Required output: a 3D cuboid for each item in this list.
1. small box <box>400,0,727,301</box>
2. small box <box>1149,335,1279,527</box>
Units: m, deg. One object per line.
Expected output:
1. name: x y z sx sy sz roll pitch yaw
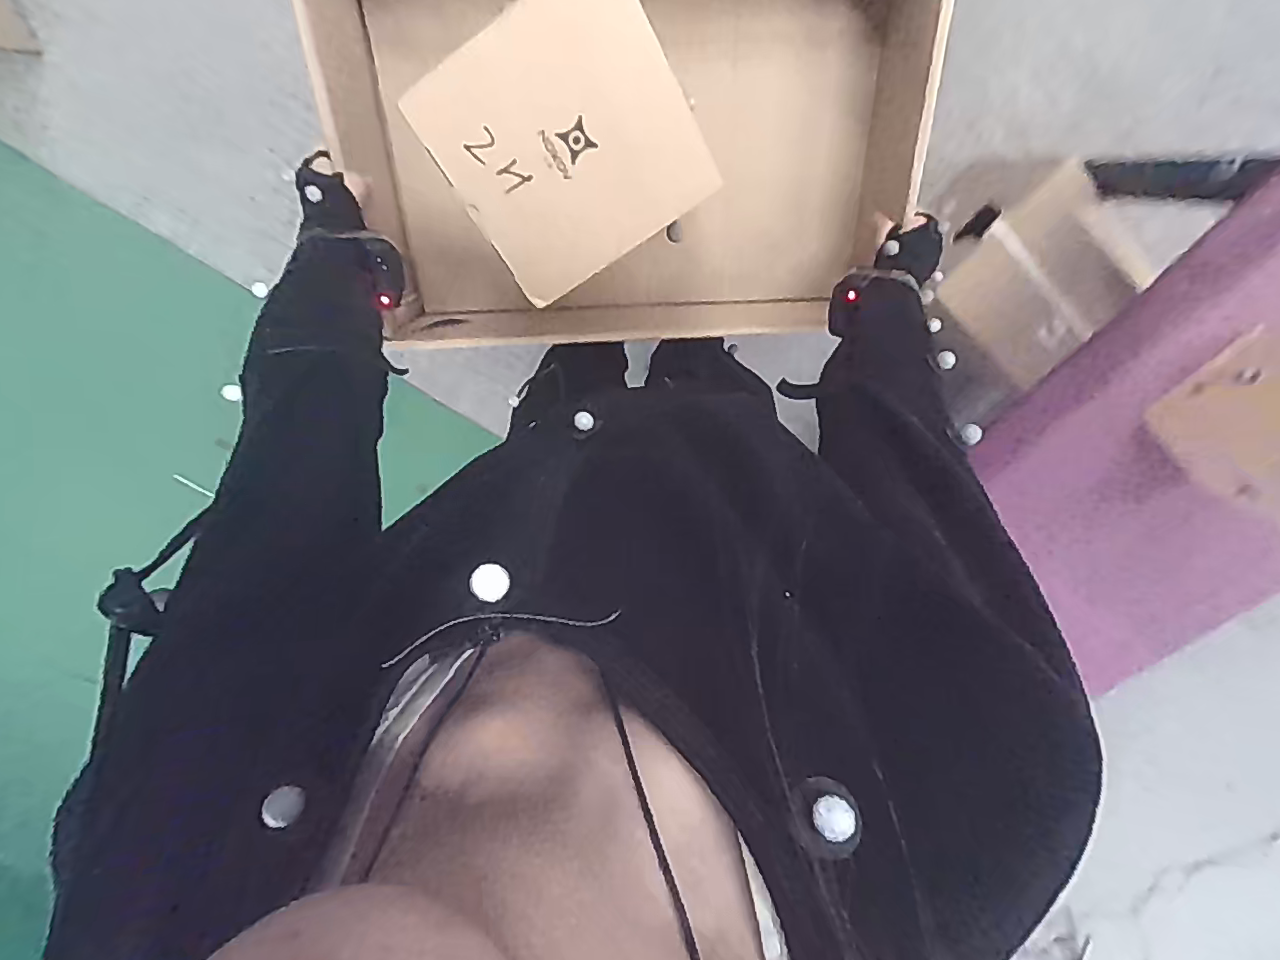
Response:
1. small box: -0.053 -0.278 0.450 0.179 0.176 0.168 -30 113 13
2. small box: 0.829 -0.059 0.691 0.179 0.176 0.168 35 112 -19
